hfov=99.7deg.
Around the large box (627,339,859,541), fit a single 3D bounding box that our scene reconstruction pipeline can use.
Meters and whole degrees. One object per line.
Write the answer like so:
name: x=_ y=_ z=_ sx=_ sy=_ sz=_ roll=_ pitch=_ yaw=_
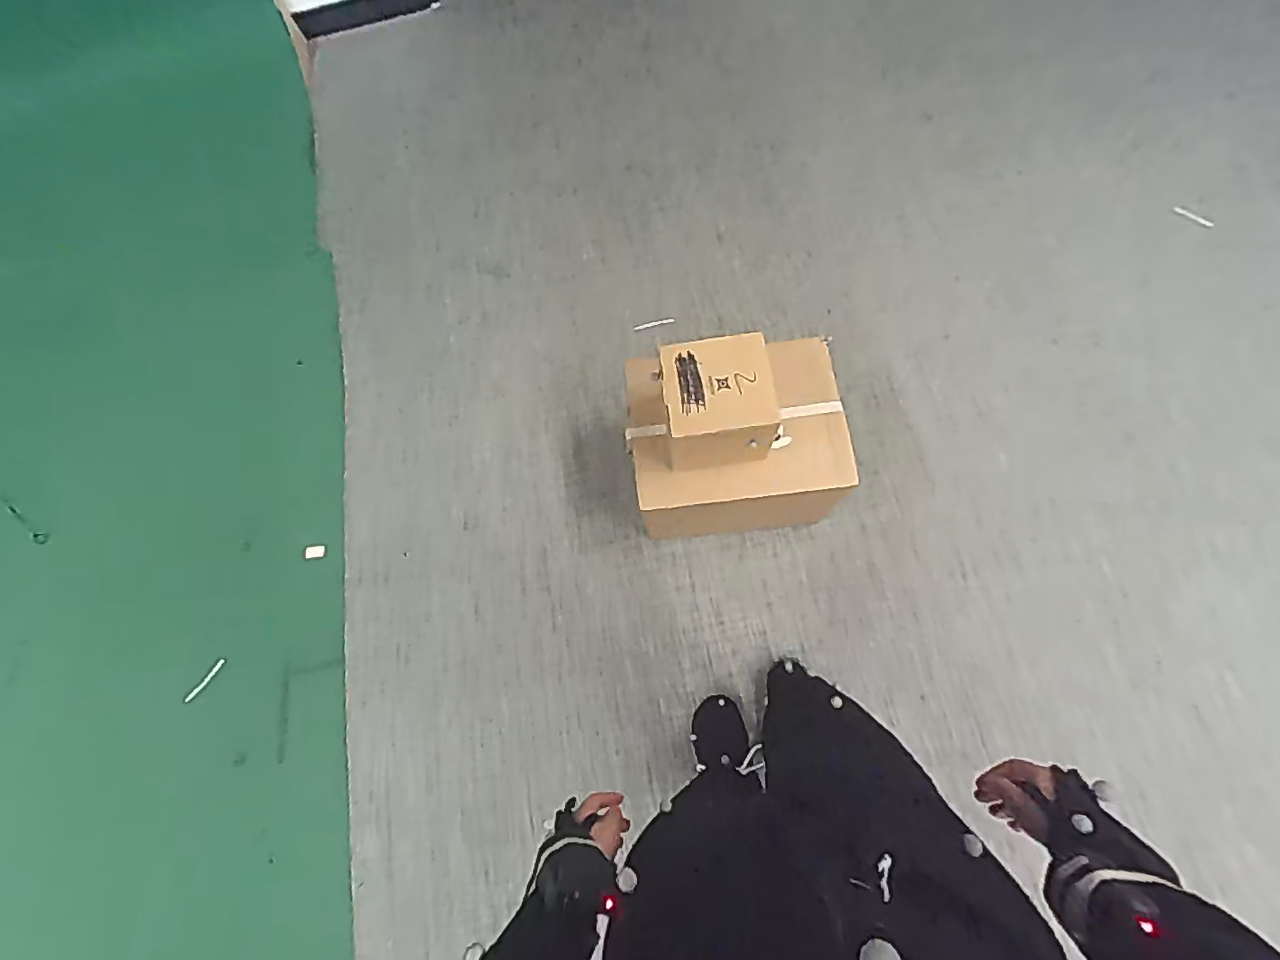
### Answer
large box: x=0.196 y=-0.066 z=1.172 sx=0.408 sy=0.320 sz=0.320 roll=-7 pitch=73 yaw=2
